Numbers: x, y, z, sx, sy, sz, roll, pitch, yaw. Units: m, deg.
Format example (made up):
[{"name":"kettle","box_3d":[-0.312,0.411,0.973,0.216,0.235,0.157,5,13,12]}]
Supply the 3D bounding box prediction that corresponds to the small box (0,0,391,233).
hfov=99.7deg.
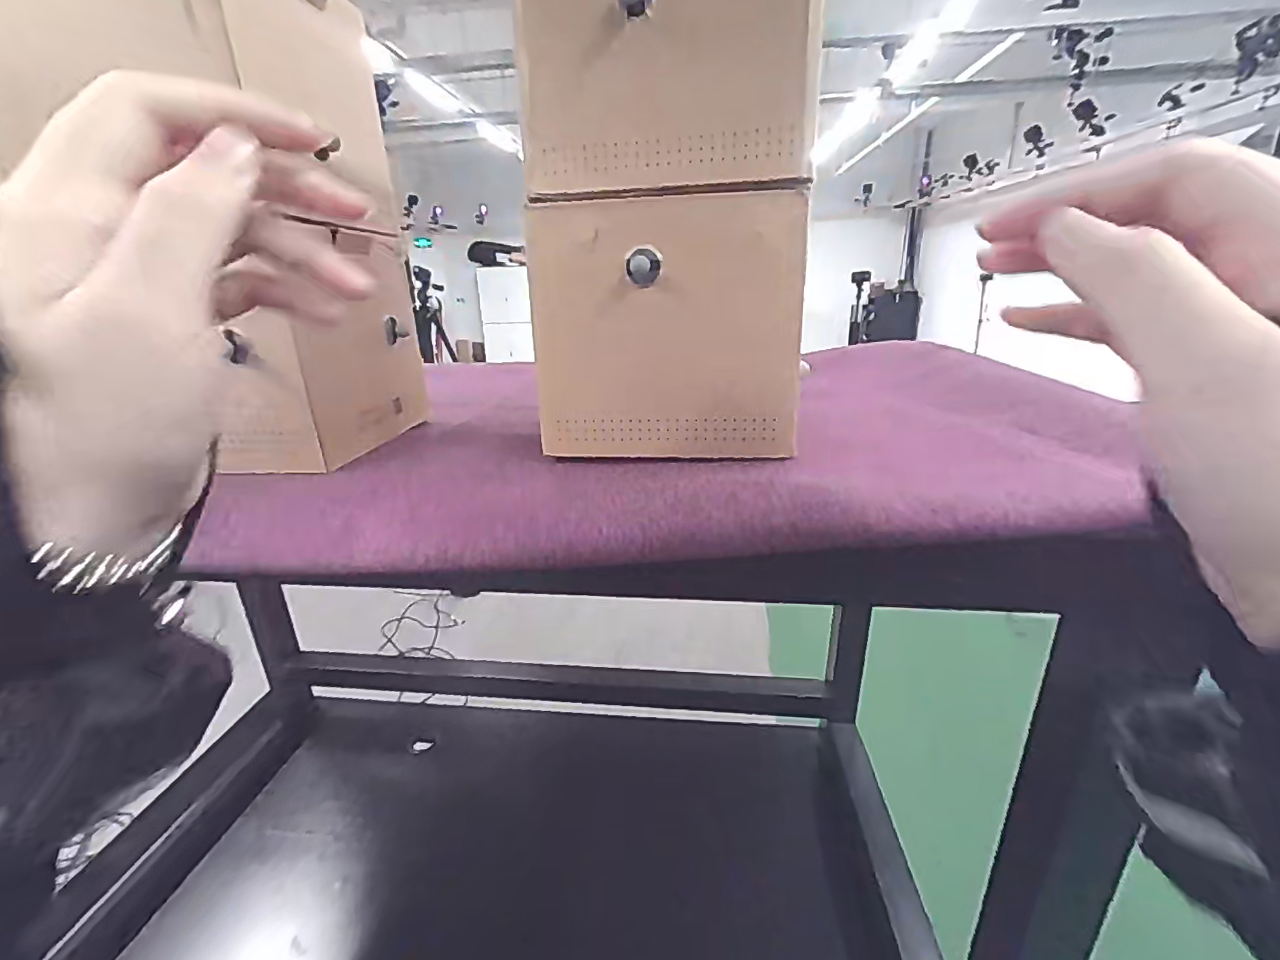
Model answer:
[{"name":"small box","box_3d":[-0.307,-0.261,0.378,0.179,0.176,0.168,-1,20,4]}]

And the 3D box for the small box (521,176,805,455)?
[{"name":"small box","box_3d":[0.024,-0.118,0.419,0.179,0.176,0.168,1,18,8]}]

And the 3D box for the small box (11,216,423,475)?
[{"name":"small box","box_3d":[-0.299,-0.107,0.432,0.179,0.176,0.168,-1,20,5]}]

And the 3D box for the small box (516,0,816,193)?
[{"name":"small box","box_3d":[0.022,-0.275,0.369,0.179,0.176,0.168,0,19,9]}]
